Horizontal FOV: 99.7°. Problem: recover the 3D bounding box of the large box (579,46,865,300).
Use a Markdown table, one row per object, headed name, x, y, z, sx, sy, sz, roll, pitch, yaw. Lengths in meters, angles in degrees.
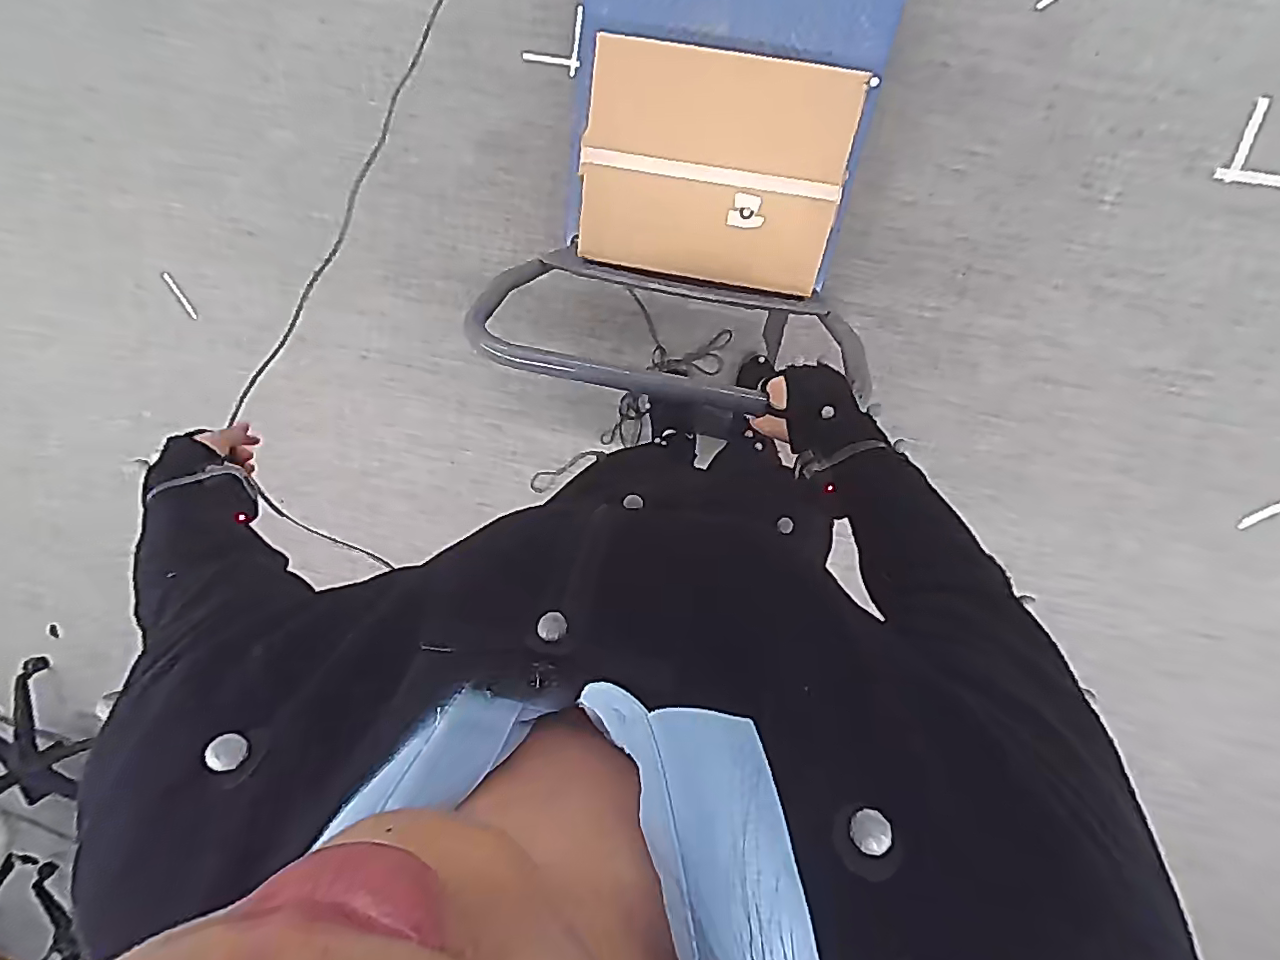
| name | x | y | z | sx | sy | sz | roll | pitch | yaw |
| --- | --- | --- | --- | --- | --- | --- | --- | --- | --- |
| large box | 0.124 | -0.529 | 0.980 | 0.408 | 0.320 | 0.320 | 10 | 116 | 2 |
